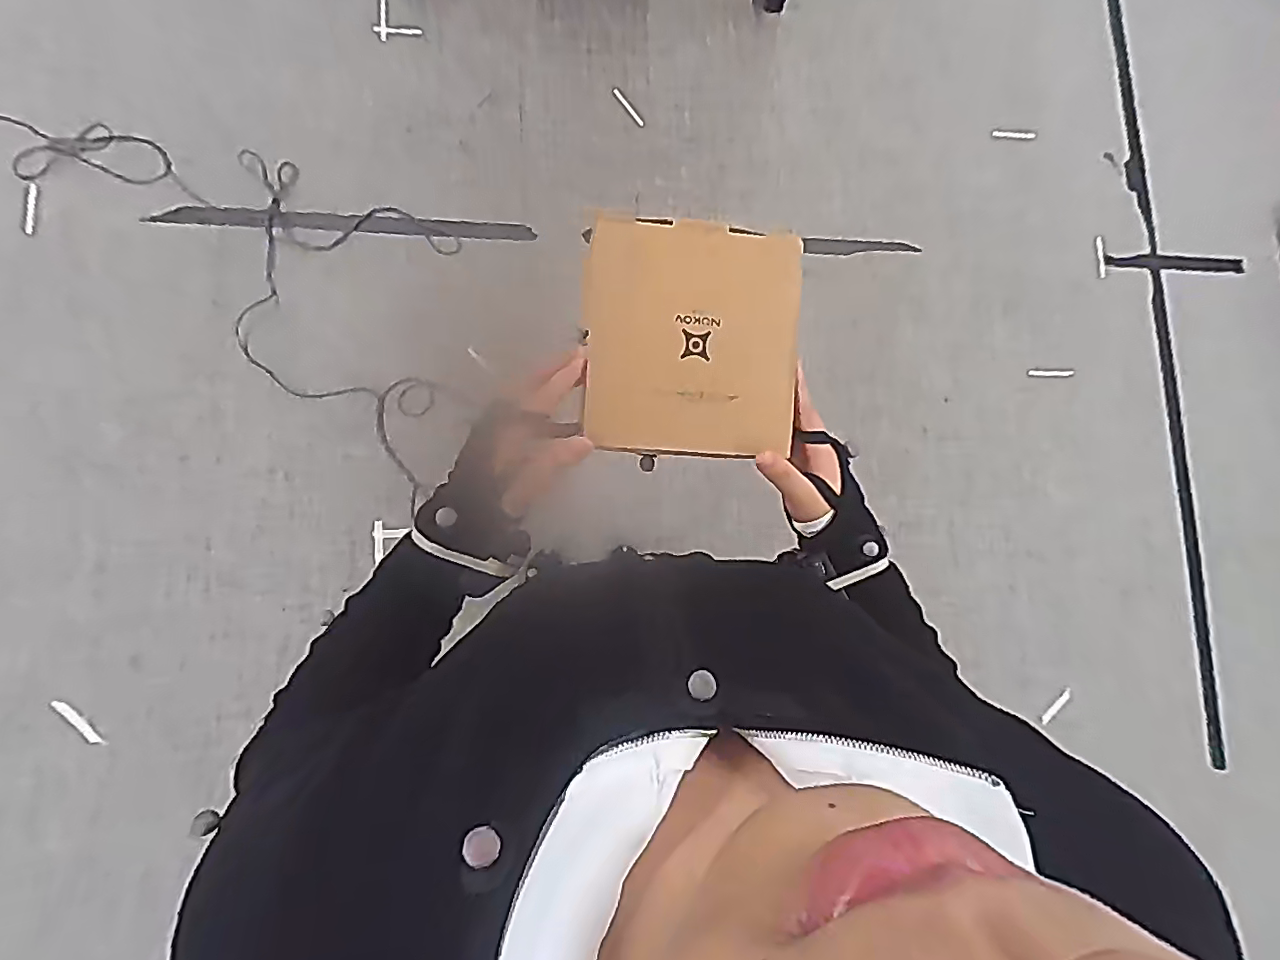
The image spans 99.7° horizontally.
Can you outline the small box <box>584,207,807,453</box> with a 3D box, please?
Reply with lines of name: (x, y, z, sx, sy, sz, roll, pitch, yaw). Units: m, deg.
small box: (0.037, -0.117, 0.497, 0.168, 0.176, 0.179, 3, 92, -7)
